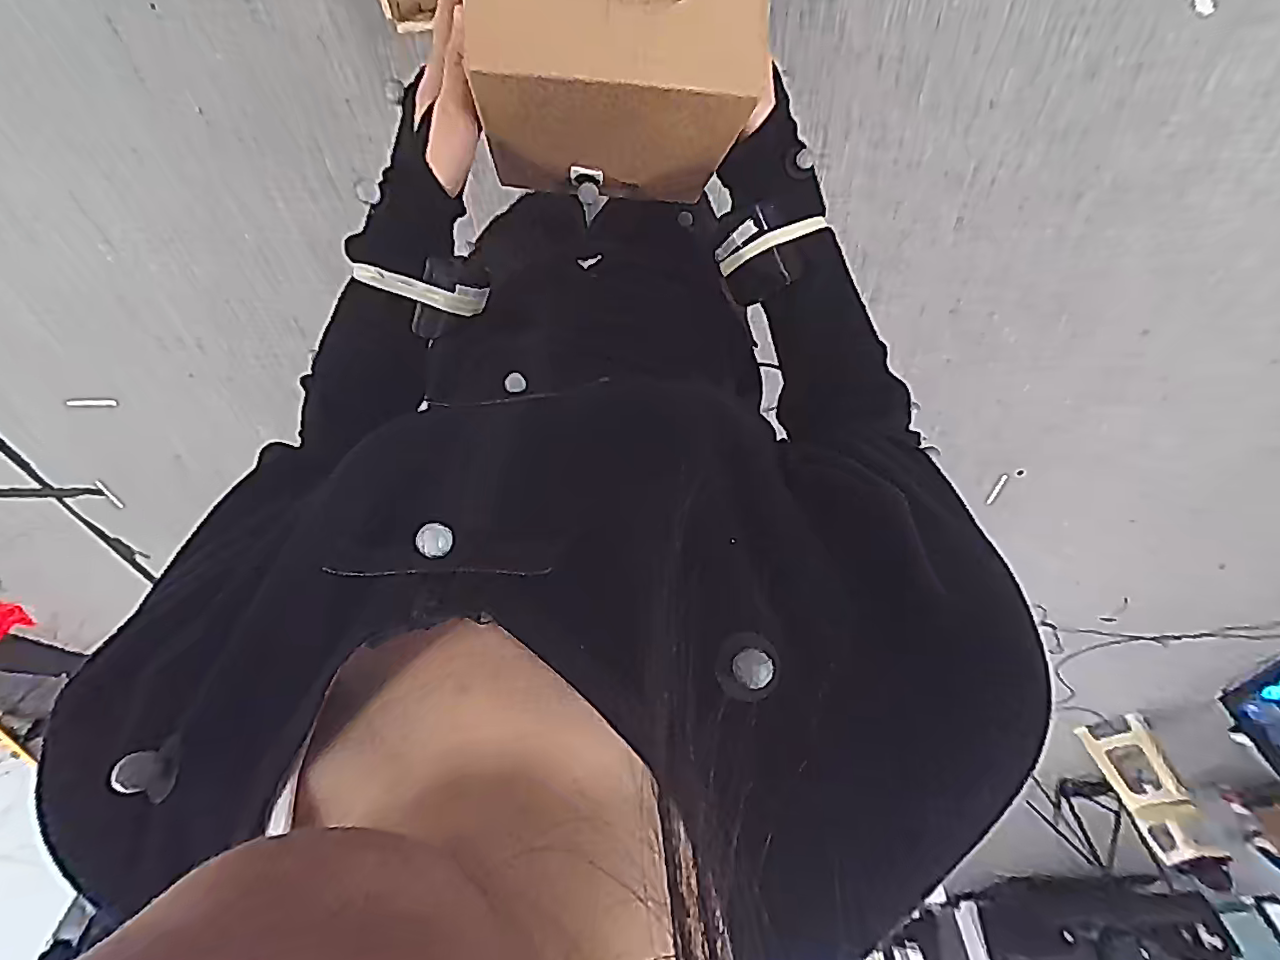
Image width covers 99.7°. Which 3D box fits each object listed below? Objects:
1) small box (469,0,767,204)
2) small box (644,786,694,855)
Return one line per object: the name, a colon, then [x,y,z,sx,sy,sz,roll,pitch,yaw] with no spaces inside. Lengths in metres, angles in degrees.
small box: [-0.020,-0.316,0.368,0.168,0.176,0.179,-1,97,-7]
small box: [0.099,1.169,1.856,0.168,0.176,0.179,-3,134,2]
